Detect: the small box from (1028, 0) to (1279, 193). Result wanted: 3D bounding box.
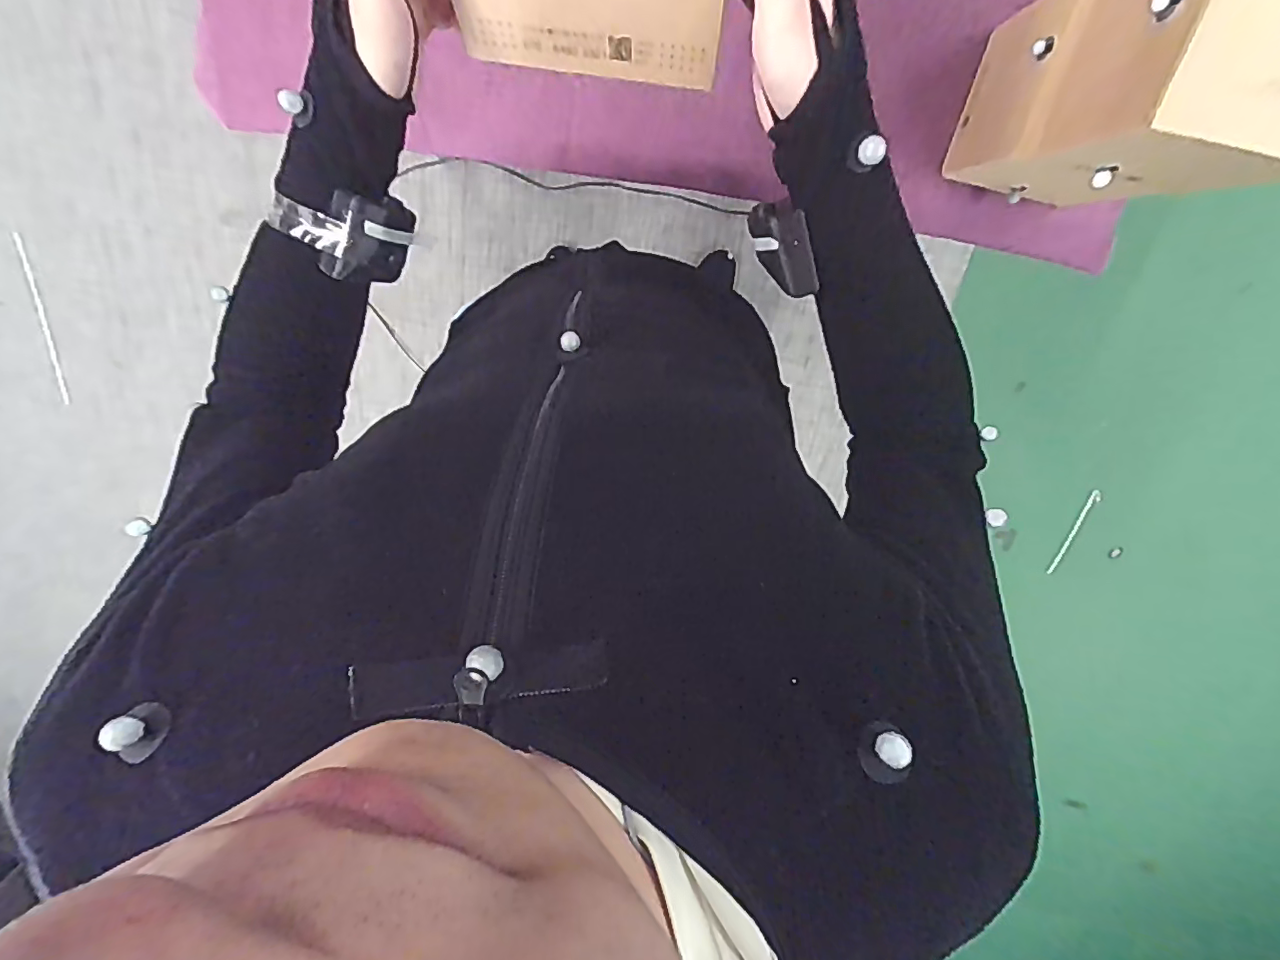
[{"bbox_3d":[0.494,-0.370,0.472,0.168,0.176,0.179,12,113,-2],"label":"small box"}]

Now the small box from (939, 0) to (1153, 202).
[{"bbox_3d":[0.494,-0.431,0.624,0.179,0.176,0.168,11,112,-4],"label":"small box"}]
